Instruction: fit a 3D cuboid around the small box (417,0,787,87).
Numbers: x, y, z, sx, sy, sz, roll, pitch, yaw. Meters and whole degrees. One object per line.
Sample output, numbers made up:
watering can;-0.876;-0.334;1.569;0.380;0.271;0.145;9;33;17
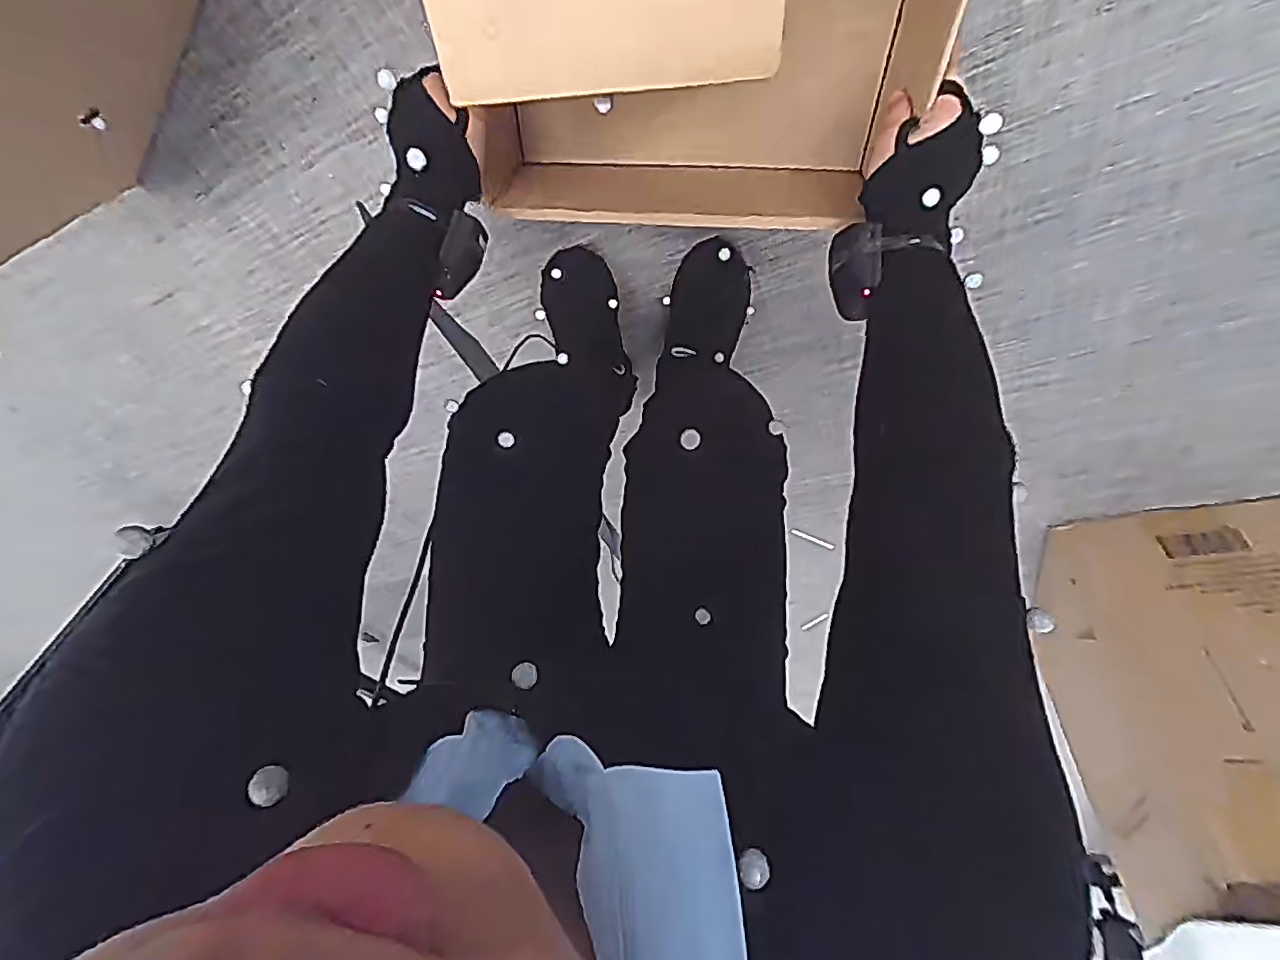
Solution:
small box;-0.014;-0.313;0.270;0.179;0.176;0.168;1;135;8
